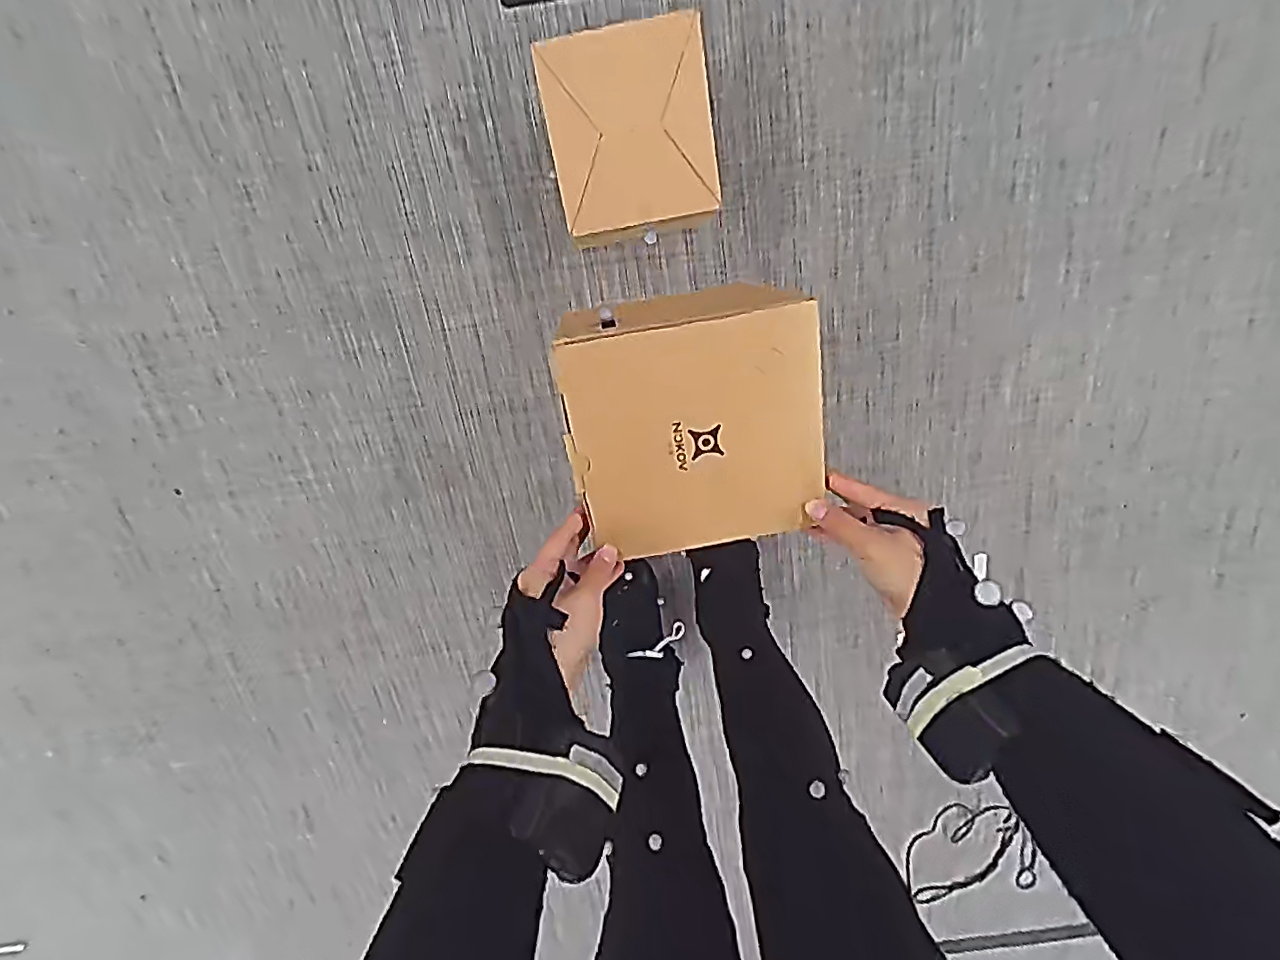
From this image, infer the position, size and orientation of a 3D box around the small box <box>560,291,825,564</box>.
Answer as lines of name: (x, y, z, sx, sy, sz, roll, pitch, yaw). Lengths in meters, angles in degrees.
small box: (0.037, -0.055, 0.451, 0.179, 0.176, 0.168, -10, 114, 0)

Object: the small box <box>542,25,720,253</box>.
small box: (-0.009, -0.372, 0.617, 0.168, 0.176, 0.179, -10, 109, 2)
